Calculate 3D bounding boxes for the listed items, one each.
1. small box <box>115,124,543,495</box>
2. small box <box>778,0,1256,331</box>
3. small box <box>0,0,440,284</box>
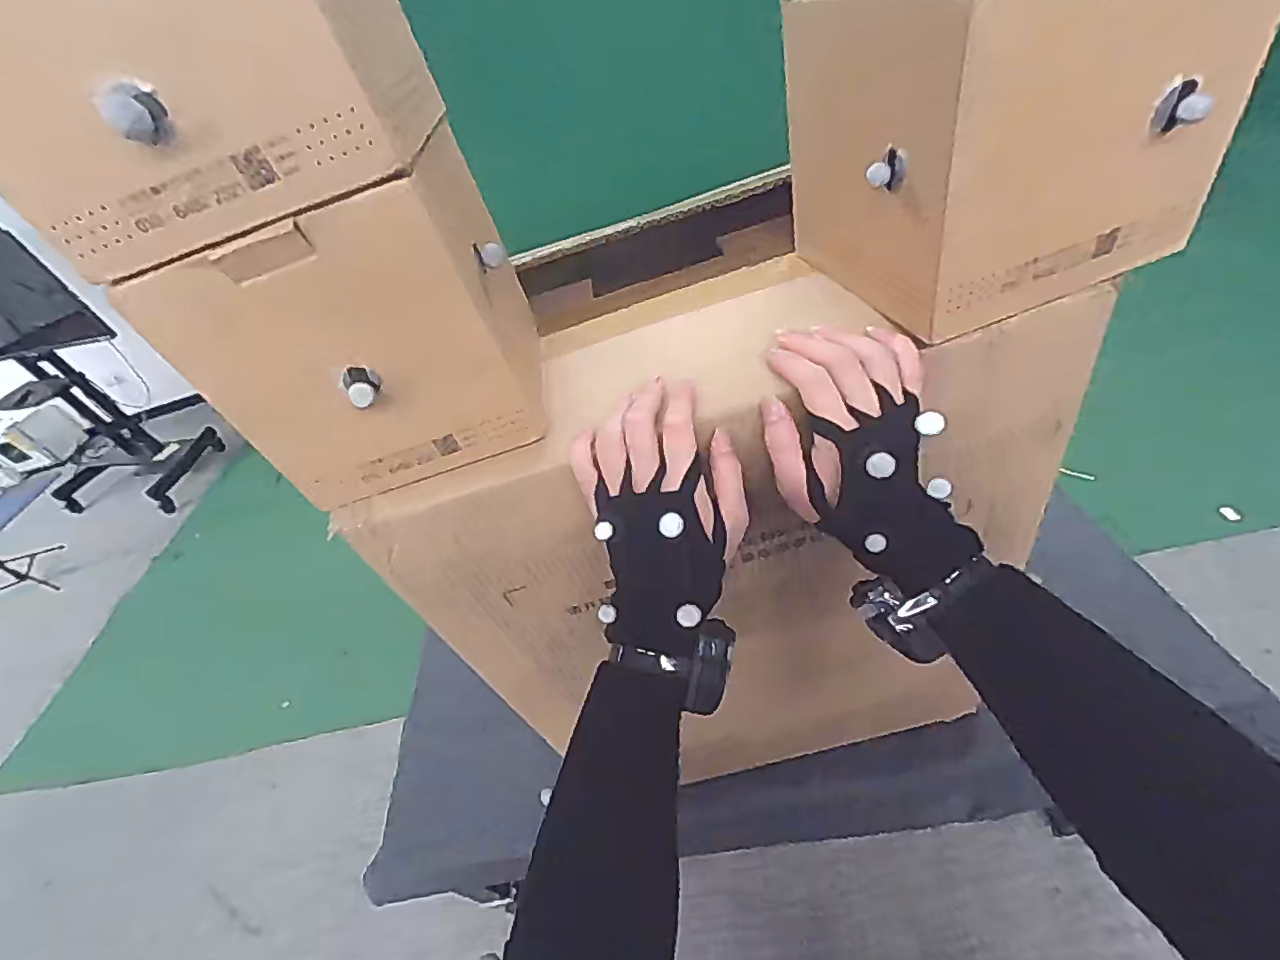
[{"bbox_3d":[-0.175,-0.110,0.375,0.168,0.176,0.179,-18,43,3],"label":"small box"},{"bbox_3d":[0.202,-0.212,0.330,0.168,0.176,0.179,-20,41,-2],"label":"small box"},{"bbox_3d":[-0.219,-0.223,0.264,0.168,0.176,0.179,-18,43,5],"label":"small box"}]
